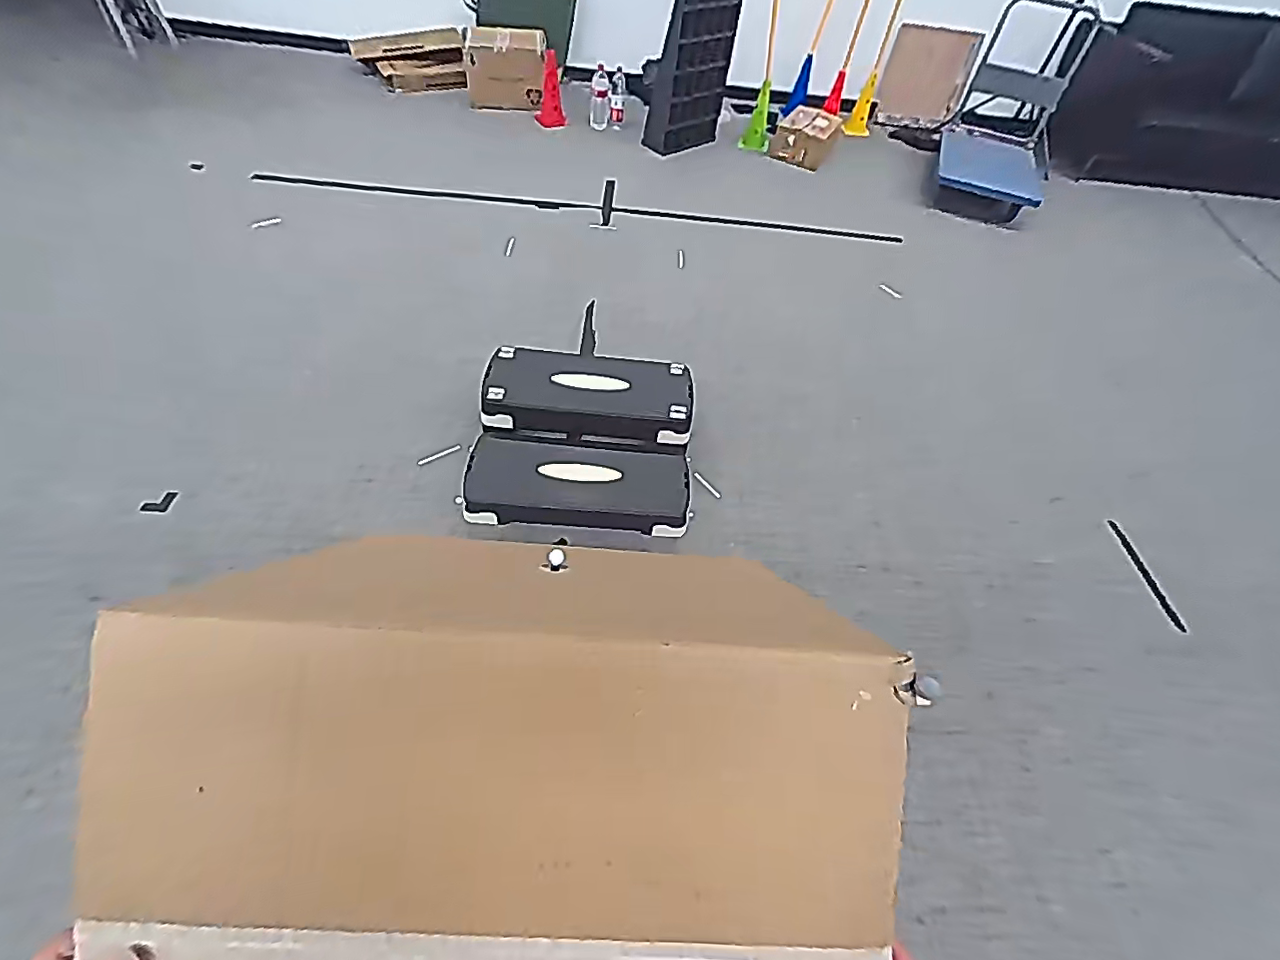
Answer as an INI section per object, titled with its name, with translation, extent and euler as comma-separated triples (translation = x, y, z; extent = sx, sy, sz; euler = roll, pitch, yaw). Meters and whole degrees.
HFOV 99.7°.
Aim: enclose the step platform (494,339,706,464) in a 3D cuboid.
[step platform]
translation = -0.126, -0.263, 1.786
extent = 0.684, 0.204, 0.286
euler = 10, 52, -1
